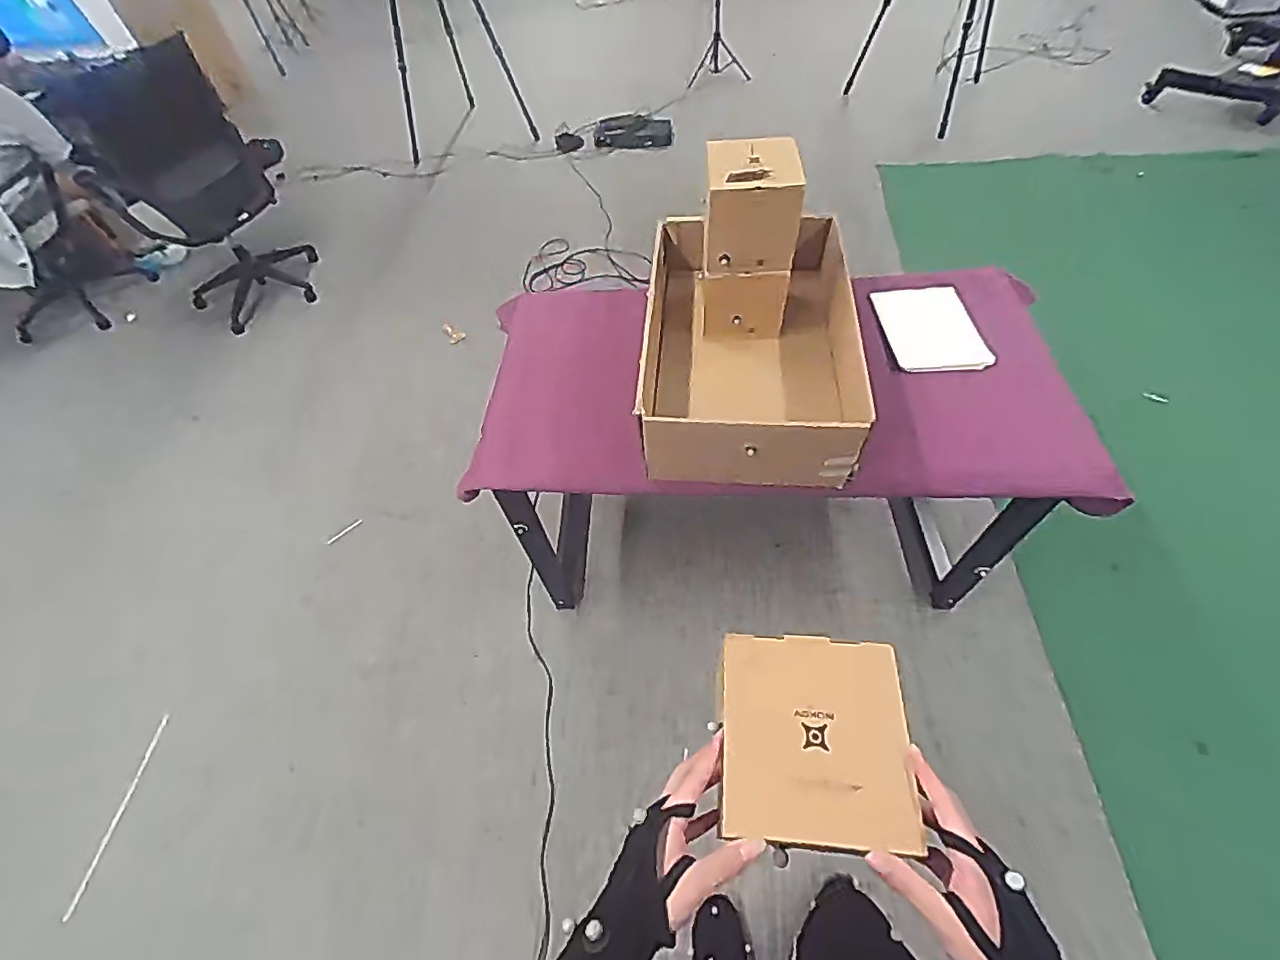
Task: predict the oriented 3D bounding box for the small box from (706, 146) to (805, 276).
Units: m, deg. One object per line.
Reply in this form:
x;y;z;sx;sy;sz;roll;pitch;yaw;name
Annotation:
0.214;-0.514;1.047;0.168;0.176;0.179;0;55;4;small box

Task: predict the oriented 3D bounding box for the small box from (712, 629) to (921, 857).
0.162;0.273;0.557;0.168;0.176;0.179;2;56;8;small box

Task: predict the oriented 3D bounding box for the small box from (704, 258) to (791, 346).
0.226;-0.415;1.178;0.168;0.176;0.179;0;57;5;small box
